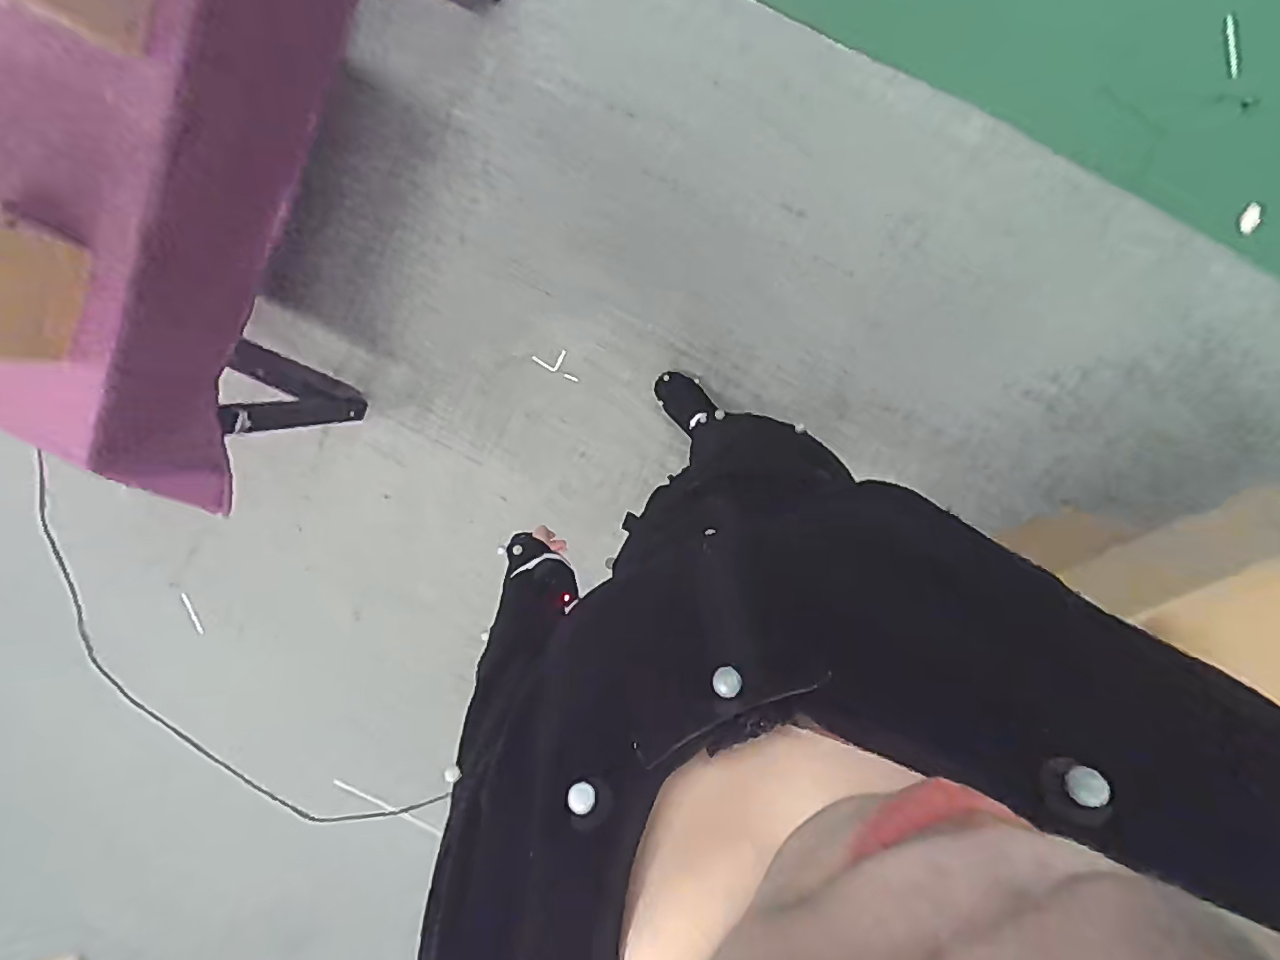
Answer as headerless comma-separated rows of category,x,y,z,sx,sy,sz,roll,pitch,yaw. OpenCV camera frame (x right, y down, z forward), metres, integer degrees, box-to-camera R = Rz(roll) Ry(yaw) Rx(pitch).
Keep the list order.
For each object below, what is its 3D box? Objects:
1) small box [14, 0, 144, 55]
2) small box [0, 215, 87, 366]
small box,-0.713,-0.651,0.624,0.168,0.176,0.179,26,102,0
small box,-0.898,-0.261,0.712,0.168,0.176,0.179,25,100,1
